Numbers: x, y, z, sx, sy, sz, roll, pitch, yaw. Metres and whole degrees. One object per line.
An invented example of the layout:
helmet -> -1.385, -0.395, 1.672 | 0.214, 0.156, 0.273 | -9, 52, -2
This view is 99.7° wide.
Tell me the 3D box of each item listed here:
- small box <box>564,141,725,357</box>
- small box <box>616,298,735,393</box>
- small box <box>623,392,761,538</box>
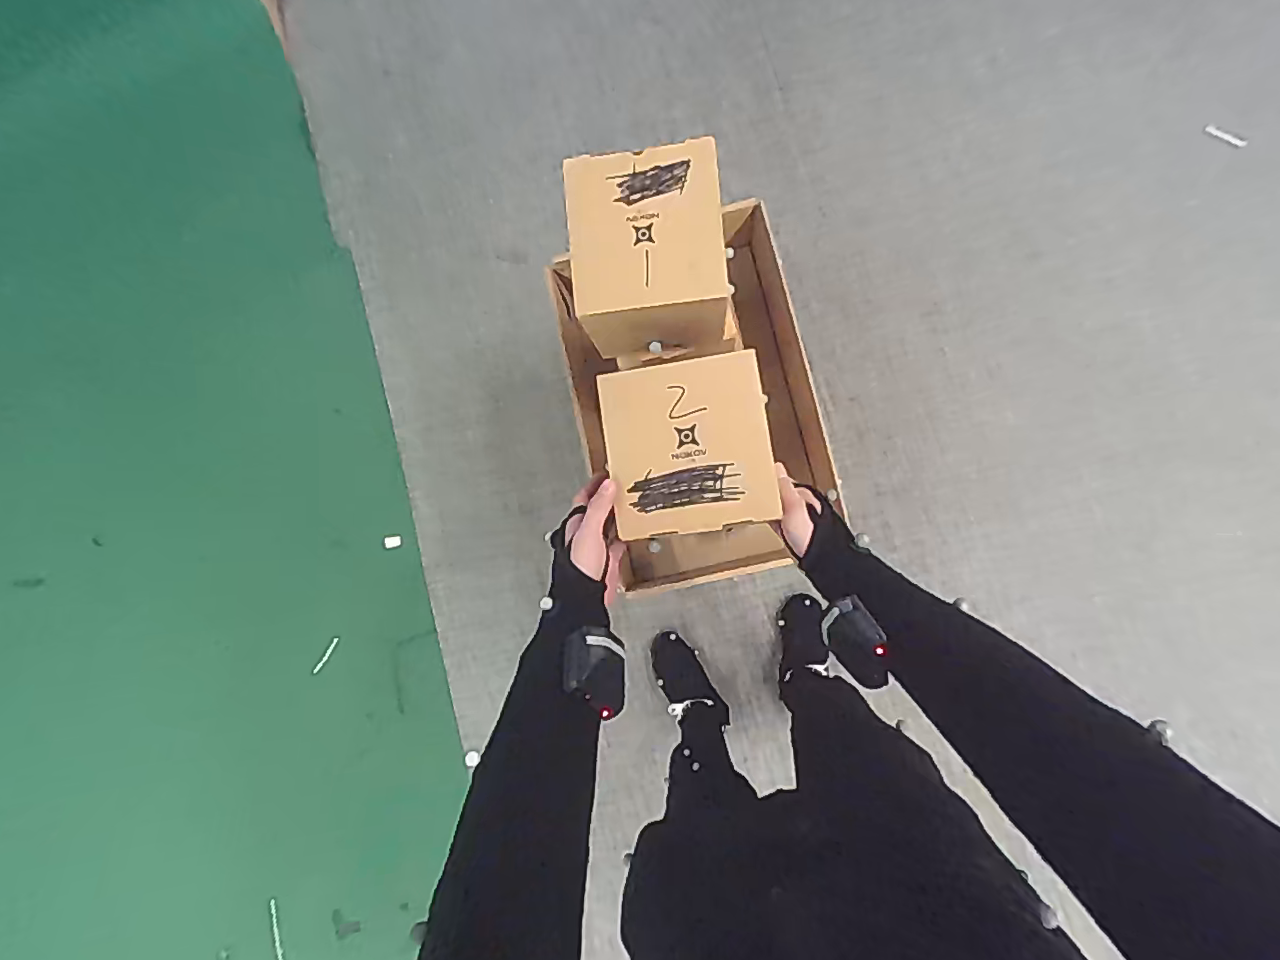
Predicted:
small box -> 0.011, -0.264, 0.655 | 0.168, 0.176, 0.179 | -5, 87, 7
small box -> 0.038, -0.249, 0.817 | 0.168, 0.176, 0.179 | -15, 85, 6
small box -> 0.078, -0.012, 0.786 | 0.168, 0.176, 0.179 | -8, 82, 6
